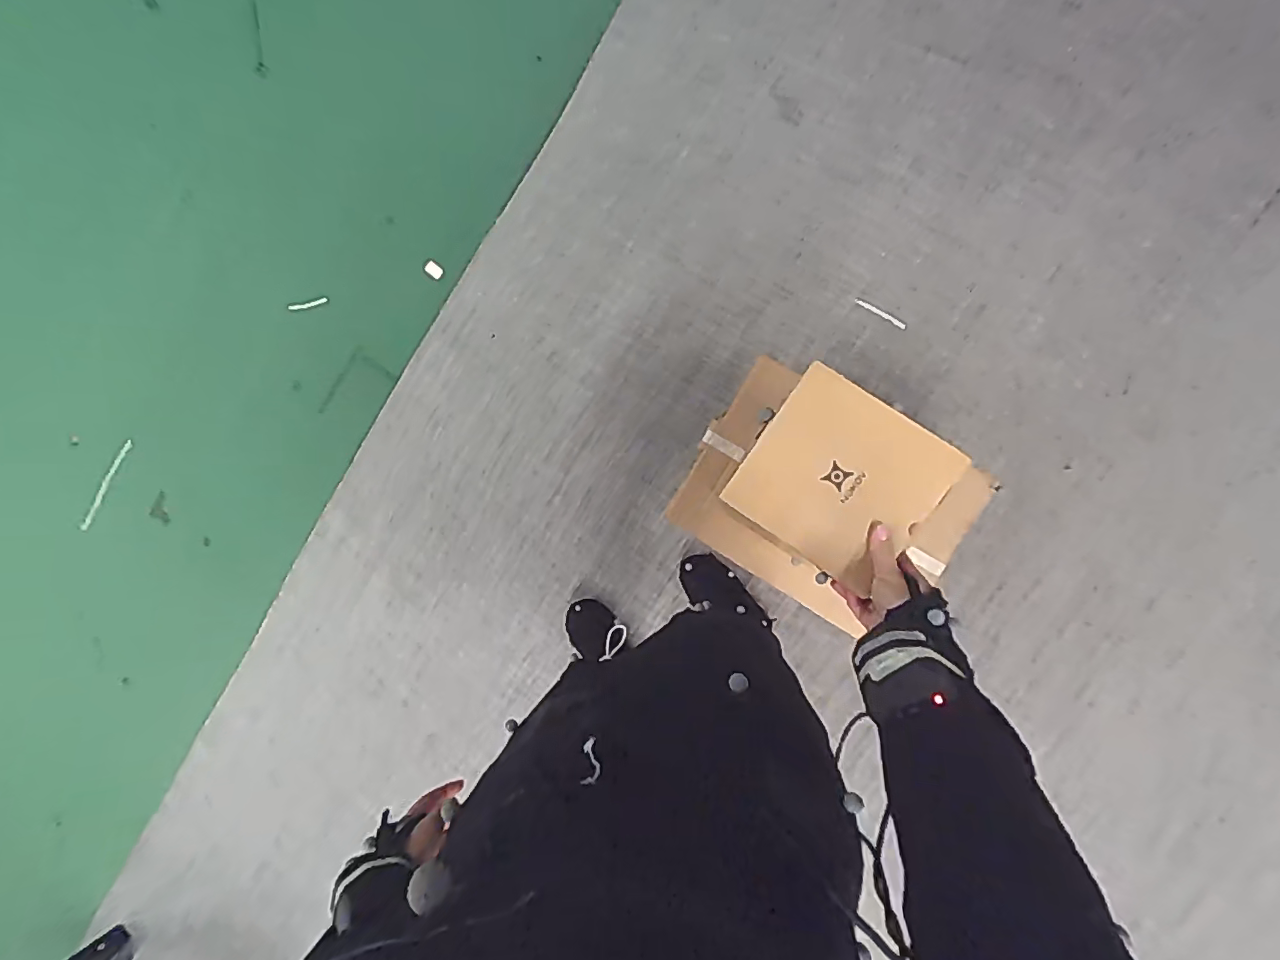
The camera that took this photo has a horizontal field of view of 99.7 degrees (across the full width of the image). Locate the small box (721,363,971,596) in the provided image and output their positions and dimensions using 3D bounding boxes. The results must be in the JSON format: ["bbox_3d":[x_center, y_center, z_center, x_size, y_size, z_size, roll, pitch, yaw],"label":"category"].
[{"bbox_3d":[0.206,0.000,0.599,0.179,0.176,0.168,35,96,7],"label":"small box"}]

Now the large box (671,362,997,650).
[{"bbox_3d":[0.317,0.036,0.994,0.408,0.320,0.320,31,96,10],"label":"large box"}]
